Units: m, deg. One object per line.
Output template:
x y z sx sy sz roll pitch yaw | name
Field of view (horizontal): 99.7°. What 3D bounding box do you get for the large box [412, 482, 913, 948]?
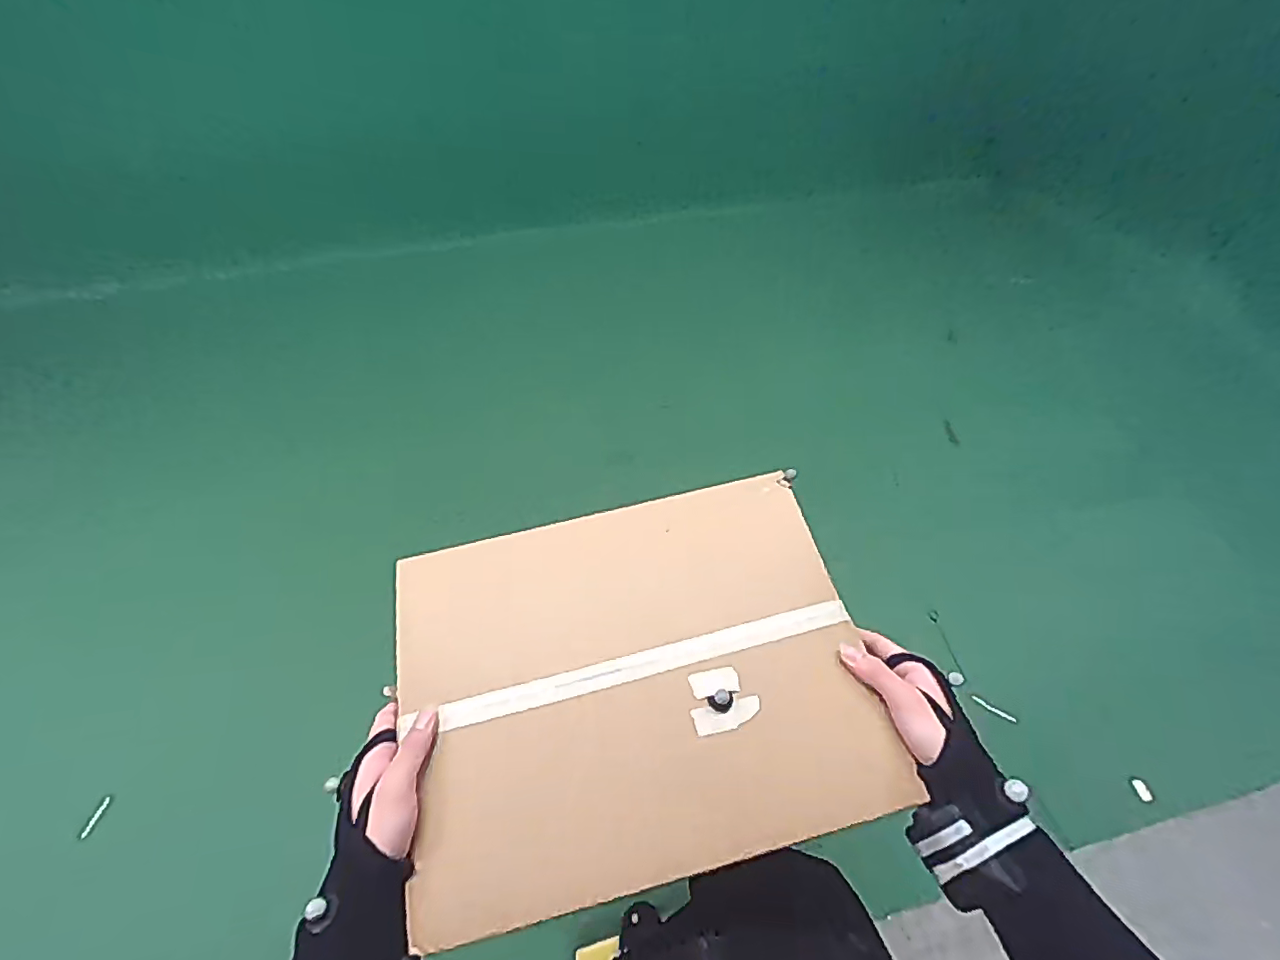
0.000 0.251 0.622 0.408 0.320 0.320 -13 60 -7 | large box
